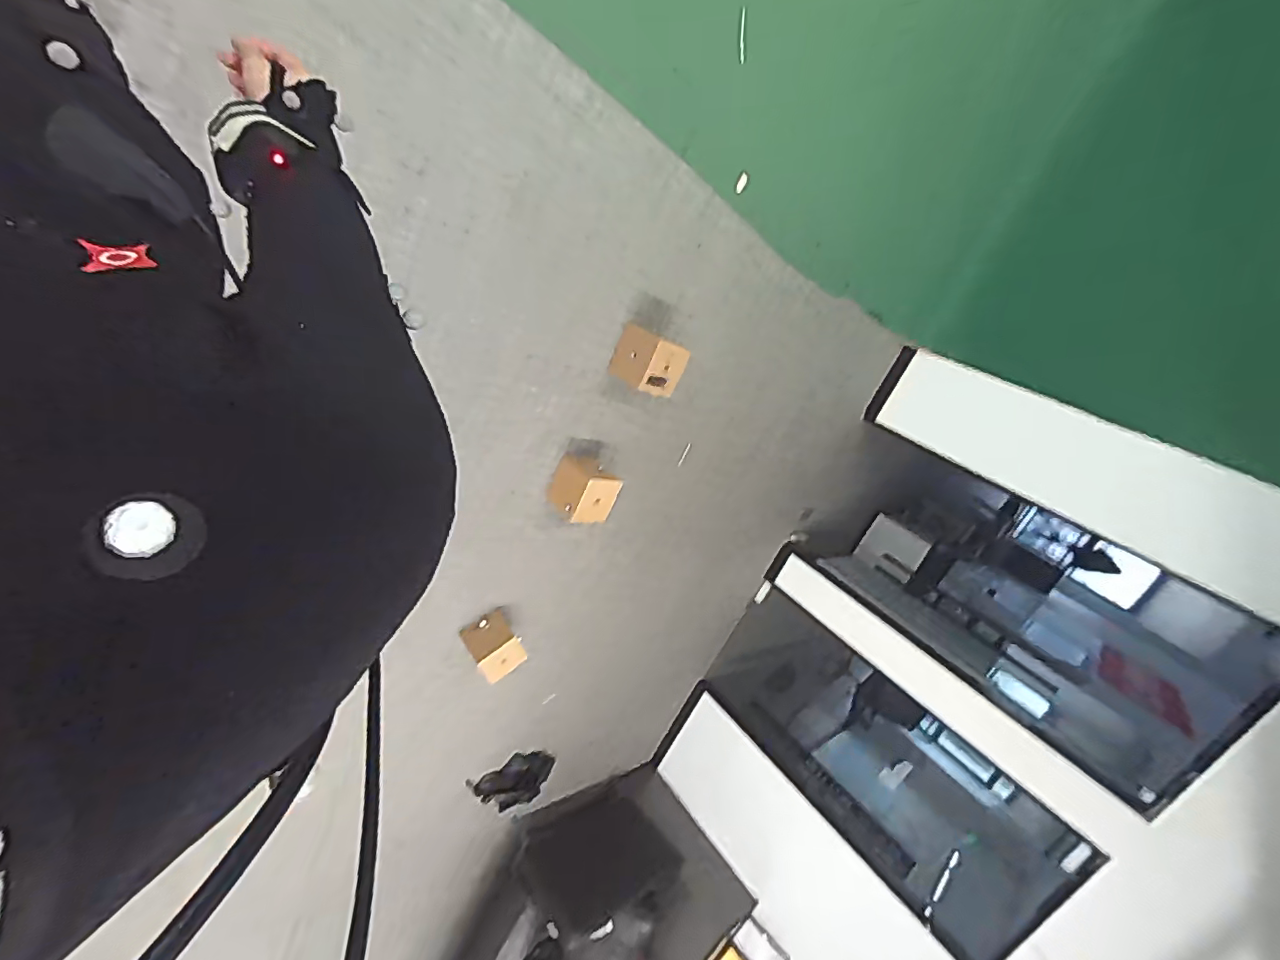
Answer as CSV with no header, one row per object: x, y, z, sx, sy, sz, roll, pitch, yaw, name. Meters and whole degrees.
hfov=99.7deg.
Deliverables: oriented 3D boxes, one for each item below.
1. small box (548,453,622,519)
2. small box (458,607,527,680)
-0.200,0.020,1.917,0.168,0.176,0.179,4,119,-48,small box
-0.564,0.619,2.068,0.168,0.176,0.179,-35,140,-21,small box
